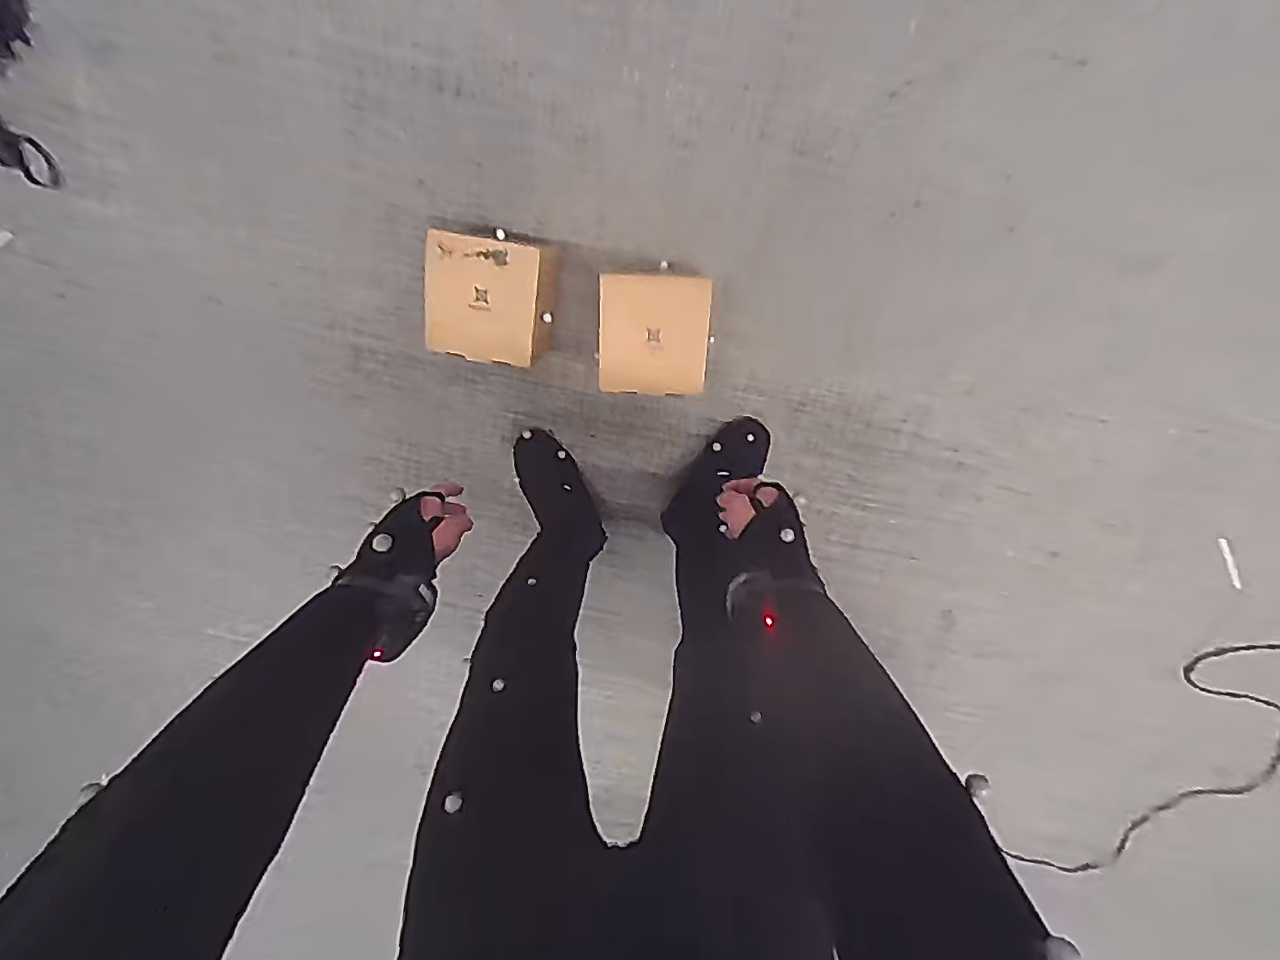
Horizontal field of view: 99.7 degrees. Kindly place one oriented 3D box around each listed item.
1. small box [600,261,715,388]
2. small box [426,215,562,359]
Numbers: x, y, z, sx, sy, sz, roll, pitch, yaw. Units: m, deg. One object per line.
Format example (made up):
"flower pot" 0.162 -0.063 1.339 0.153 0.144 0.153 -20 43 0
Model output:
"small box" 0.026 -0.256 0.873 0.168 0.176 0.179 2 112 0
"small box" -0.225 -0.309 0.861 0.168 0.176 0.179 10 114 -1
